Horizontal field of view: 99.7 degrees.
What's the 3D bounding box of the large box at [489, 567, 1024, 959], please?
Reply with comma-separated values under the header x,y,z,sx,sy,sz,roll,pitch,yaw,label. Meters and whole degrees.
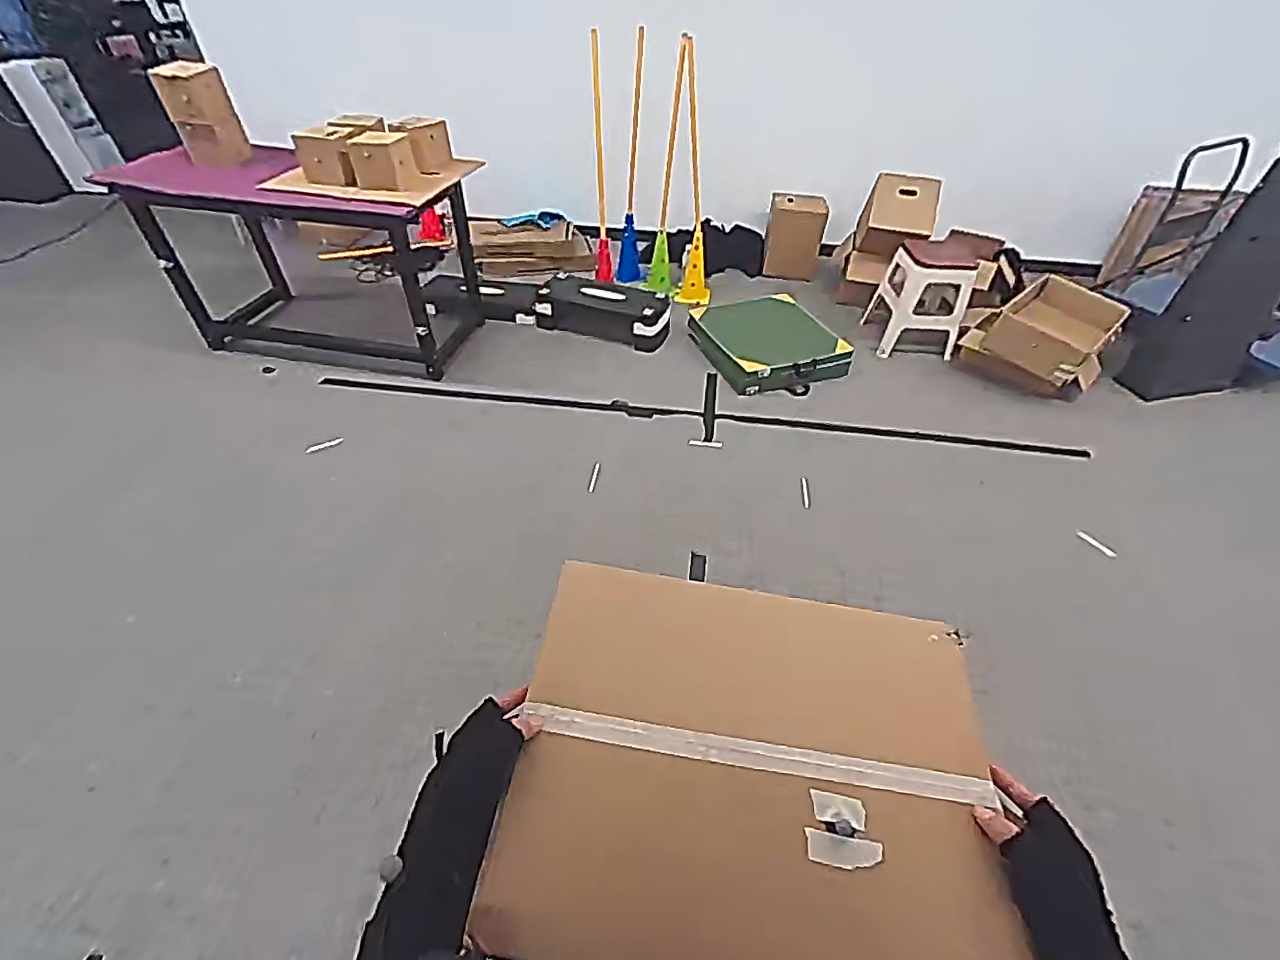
x,y,z,sx,sy,sz,roll,pitch,yaw,label
0.089,0.329,0.592,0.408,0.320,0.320,9,51,1,large box
